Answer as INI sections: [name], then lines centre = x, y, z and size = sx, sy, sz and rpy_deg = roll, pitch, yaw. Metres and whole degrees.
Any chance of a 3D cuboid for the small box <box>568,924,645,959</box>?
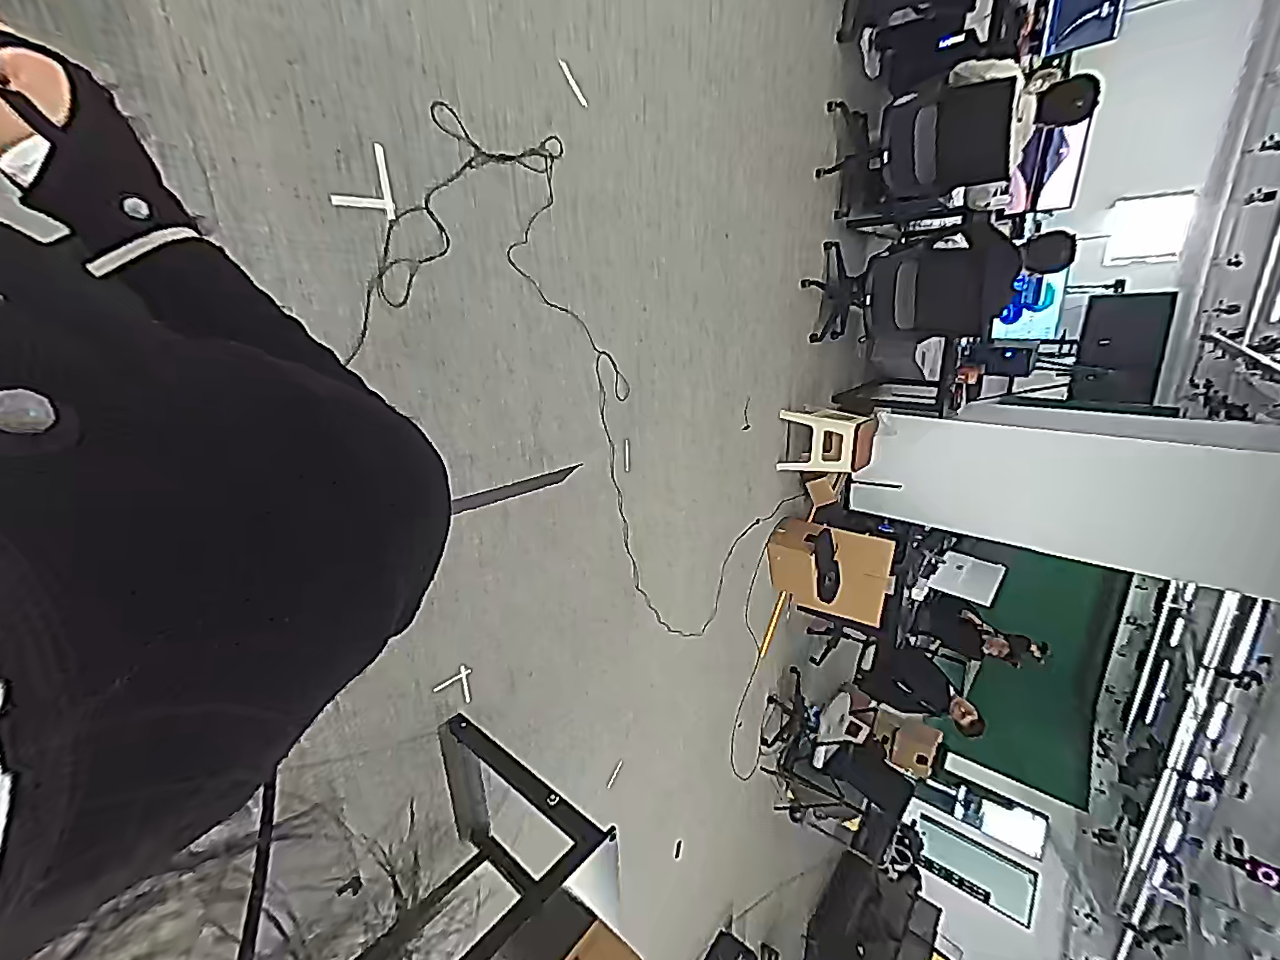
[small box]
centre = -0.090, 1.290, 1.373
size = 0.168, 0.176, 0.179
rpy_deg = -26, 120, -43
